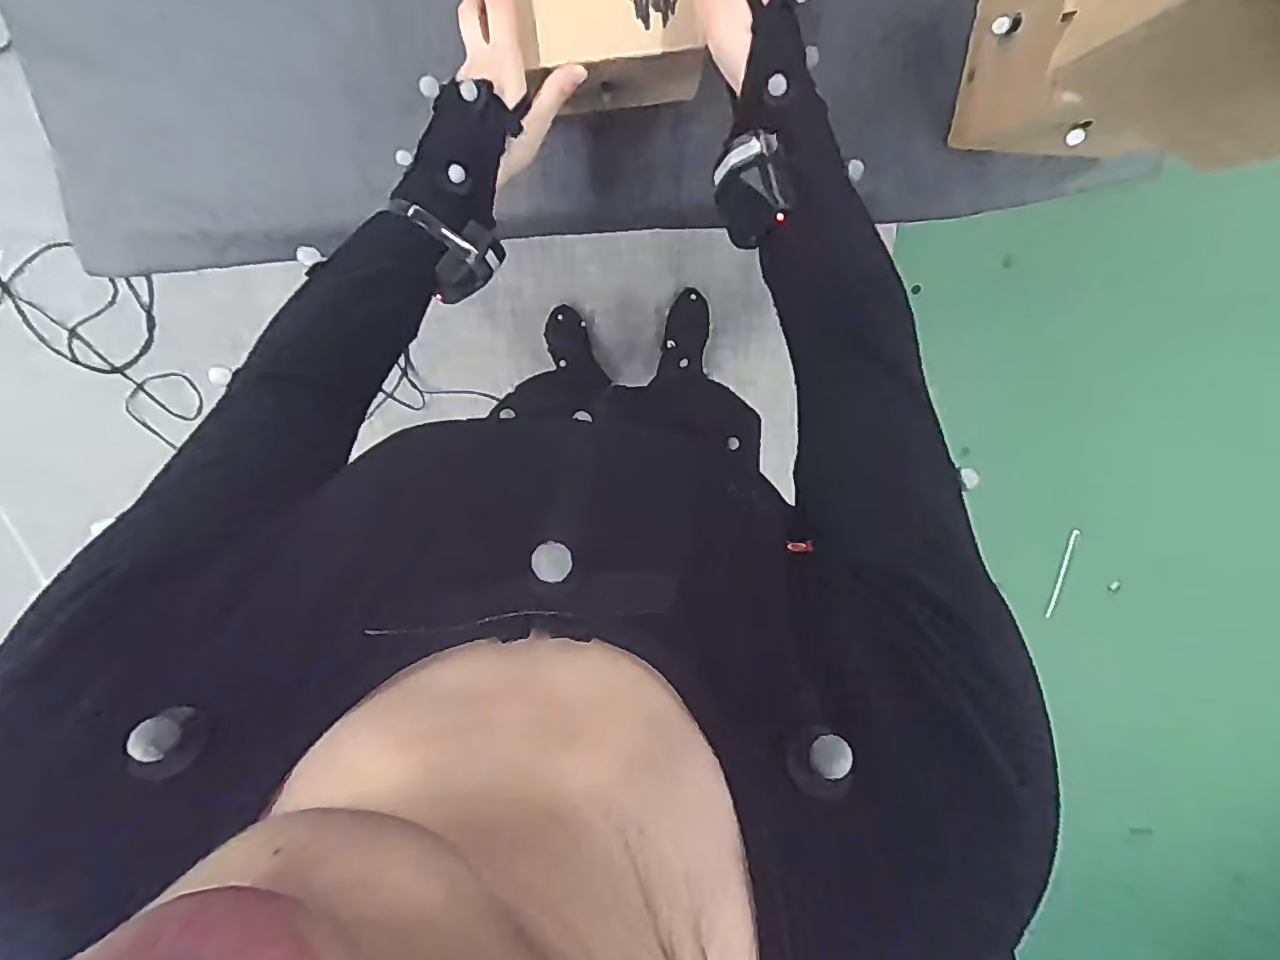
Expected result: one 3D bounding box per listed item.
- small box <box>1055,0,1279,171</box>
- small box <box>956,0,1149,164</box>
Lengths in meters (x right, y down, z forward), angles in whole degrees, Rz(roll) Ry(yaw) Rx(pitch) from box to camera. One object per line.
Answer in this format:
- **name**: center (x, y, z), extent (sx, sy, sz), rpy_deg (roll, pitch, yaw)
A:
- **small box**: center (0.428, -0.324, 0.340), extent (0.179, 0.176, 0.168), rpy_deg (23, 109, -9)
- **small box**: center (0.425, -0.397, 0.487), extent (0.179, 0.176, 0.168), rpy_deg (3, 110, 0)
